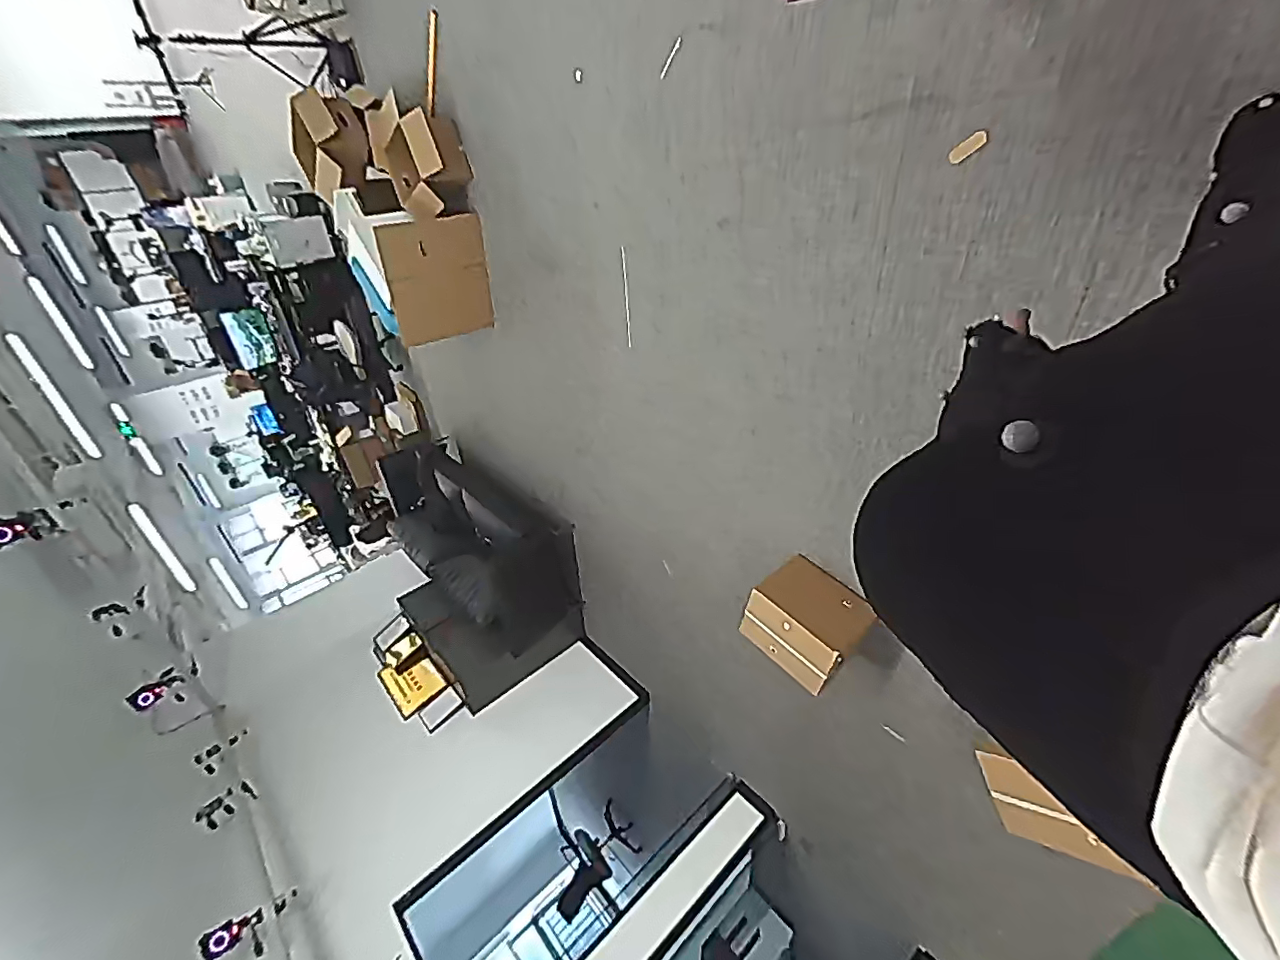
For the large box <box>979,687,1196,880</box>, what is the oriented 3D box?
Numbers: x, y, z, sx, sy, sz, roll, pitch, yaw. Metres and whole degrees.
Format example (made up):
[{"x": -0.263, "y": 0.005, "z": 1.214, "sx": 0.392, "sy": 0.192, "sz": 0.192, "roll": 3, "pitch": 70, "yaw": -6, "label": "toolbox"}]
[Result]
[{"x": 1.333, "y": 0.870, "z": 1.625, "sx": 0.408, "sy": 0.320, "sz": 0.320, "roll": -15, "pitch": 103, "yaw": 56, "label": "large box"}]
